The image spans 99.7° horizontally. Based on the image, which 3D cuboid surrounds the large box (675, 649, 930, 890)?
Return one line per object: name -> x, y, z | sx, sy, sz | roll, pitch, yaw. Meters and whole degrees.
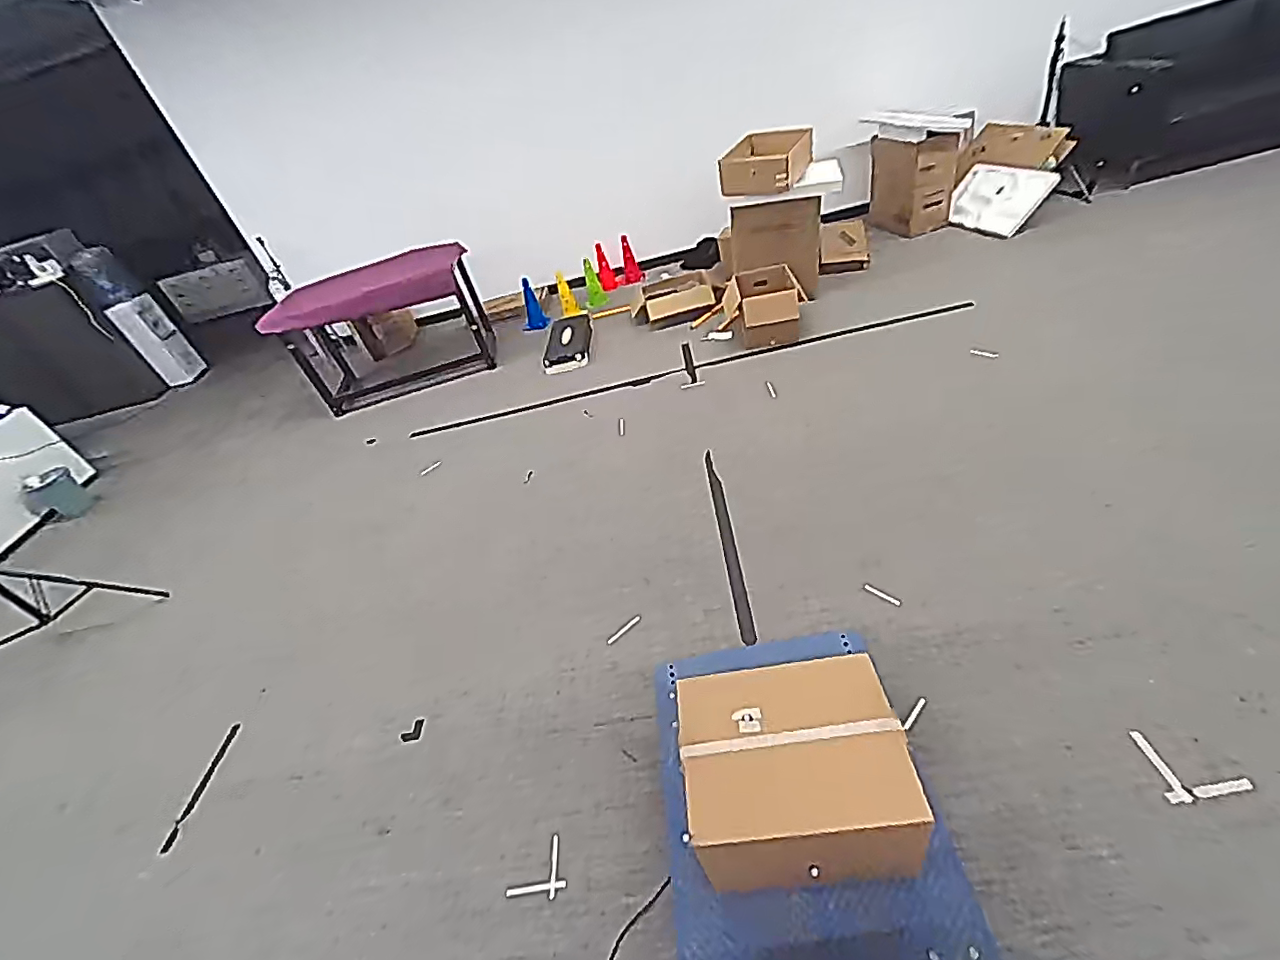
large box -> 0.308, 0.591, 1.100 | 0.408, 0.320, 0.320 | -12, 38, 8
